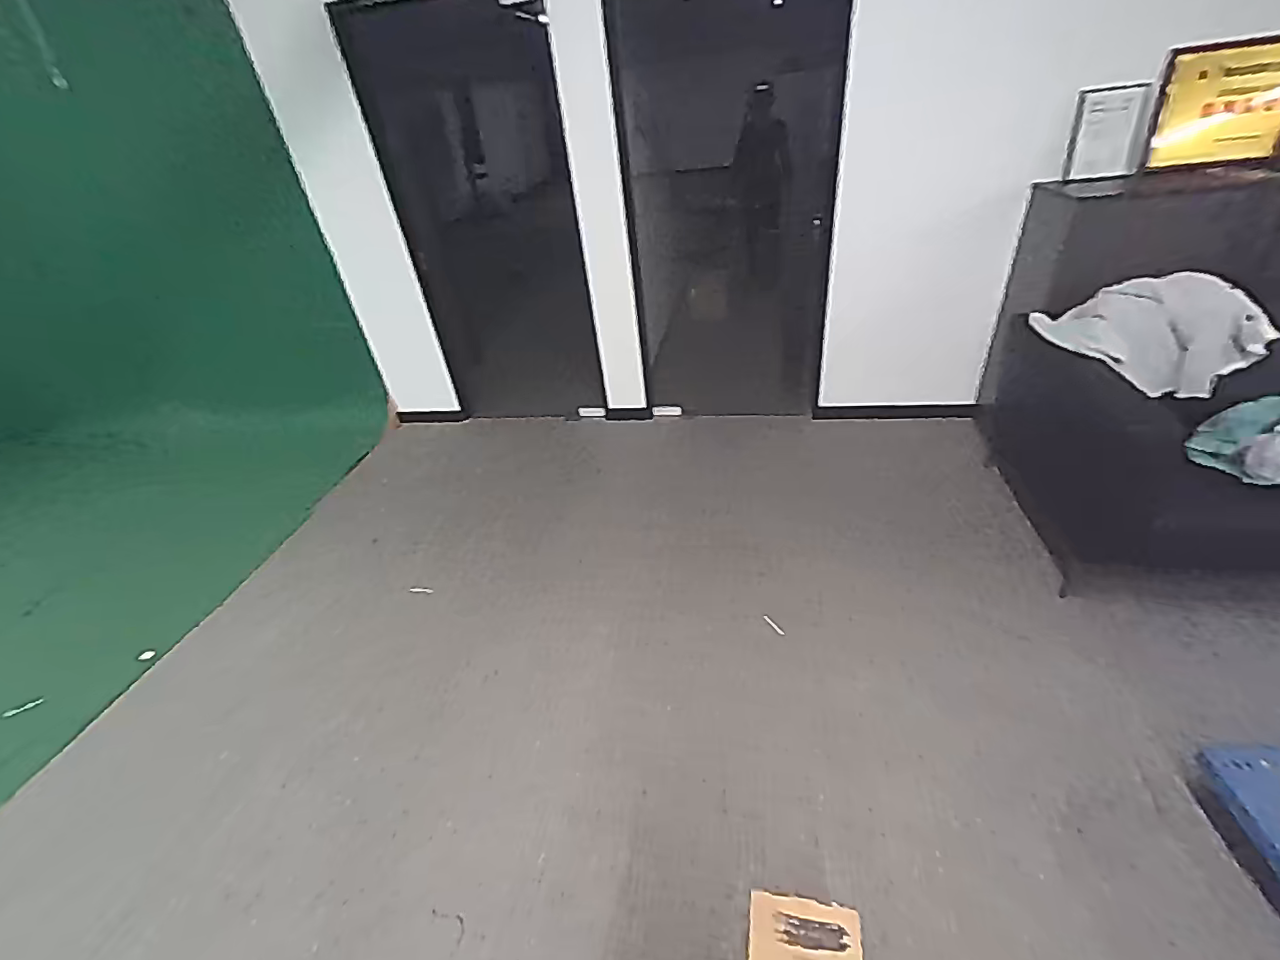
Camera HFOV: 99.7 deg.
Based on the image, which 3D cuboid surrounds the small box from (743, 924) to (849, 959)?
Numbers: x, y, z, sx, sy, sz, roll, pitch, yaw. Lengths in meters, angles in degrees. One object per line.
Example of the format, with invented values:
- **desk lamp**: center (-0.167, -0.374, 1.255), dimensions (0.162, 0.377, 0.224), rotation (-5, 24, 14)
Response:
- **small box**: center (0.264, 0.910, 0.930), dimensions (0.179, 0.176, 0.168), rotation (3, 37, 13)
